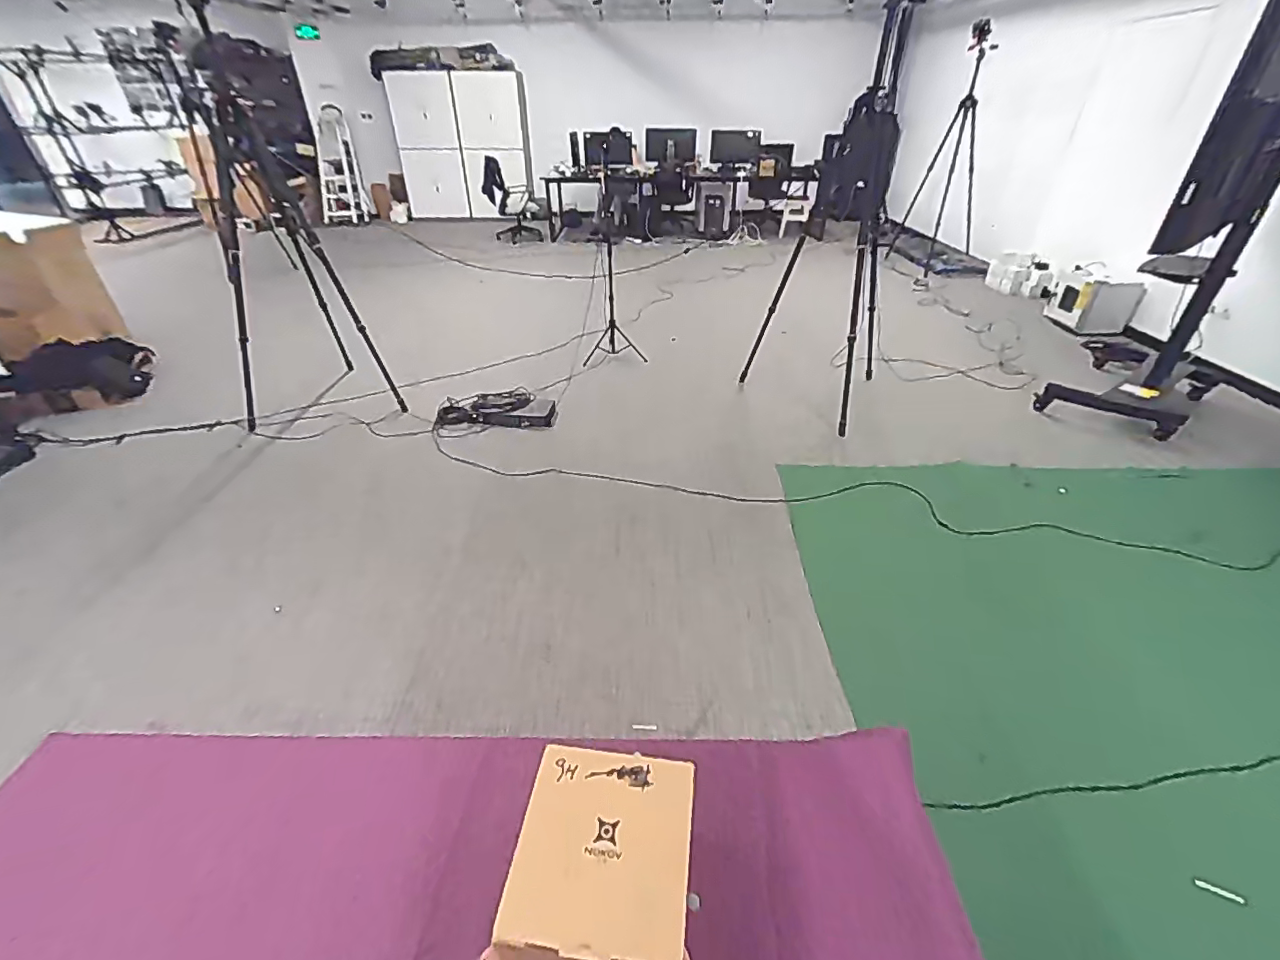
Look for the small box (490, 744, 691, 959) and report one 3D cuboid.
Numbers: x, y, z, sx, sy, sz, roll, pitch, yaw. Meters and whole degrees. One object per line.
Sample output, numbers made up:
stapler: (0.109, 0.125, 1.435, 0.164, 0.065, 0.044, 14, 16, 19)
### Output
small box: (-0.035, 0.412, 0.565, 0.168, 0.176, 0.179, 4, 36, 7)
